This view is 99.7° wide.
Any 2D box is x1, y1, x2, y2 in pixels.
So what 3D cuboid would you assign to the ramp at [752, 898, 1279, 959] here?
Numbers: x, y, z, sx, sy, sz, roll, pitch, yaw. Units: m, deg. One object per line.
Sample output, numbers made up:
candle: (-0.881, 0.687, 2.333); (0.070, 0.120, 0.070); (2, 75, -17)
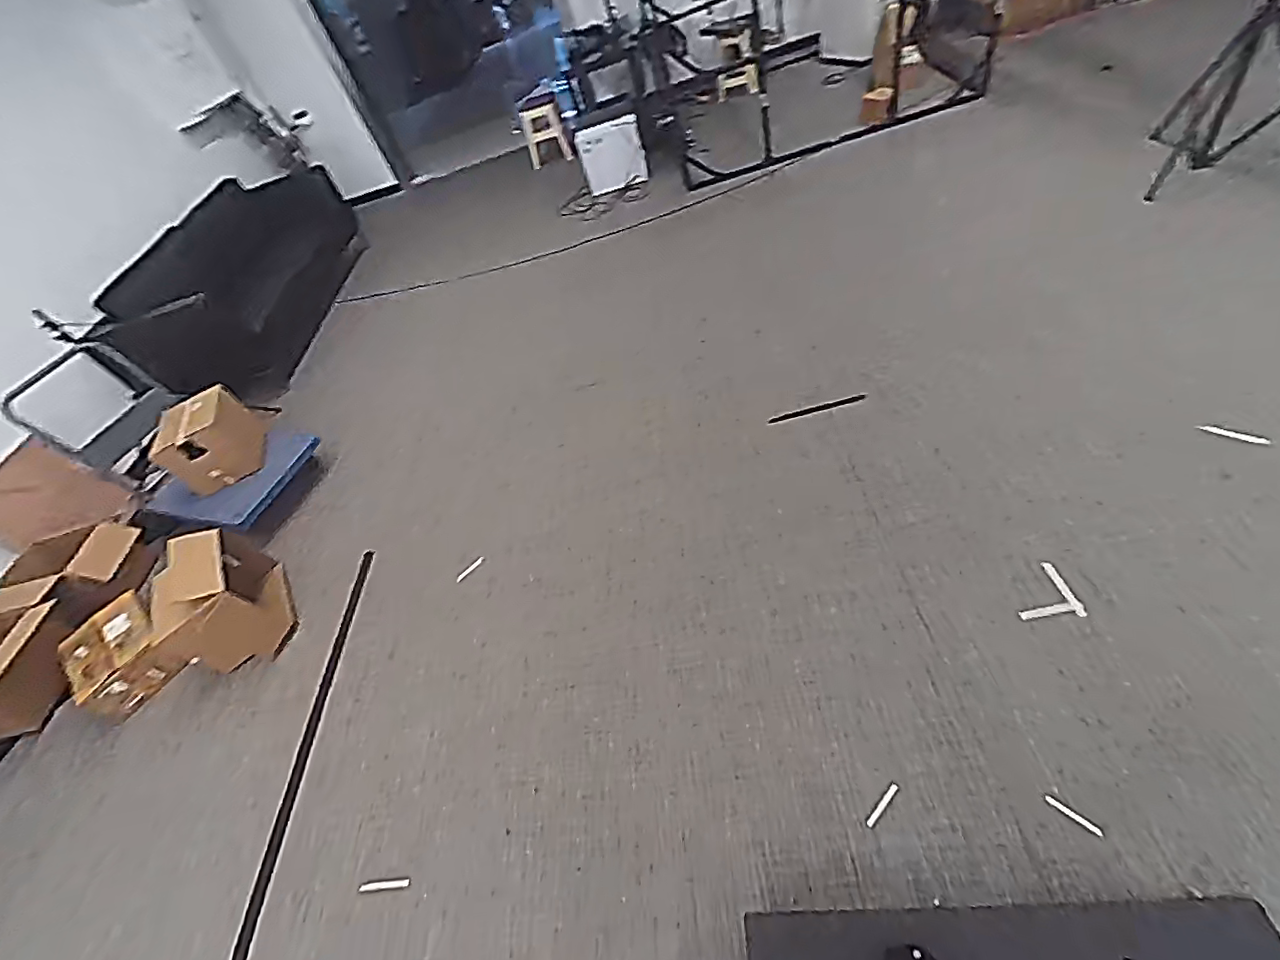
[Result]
ramp: (0.731, 1.050, 0.923); (0.991, 0.206, 0.509); (-14, 45, 9)
